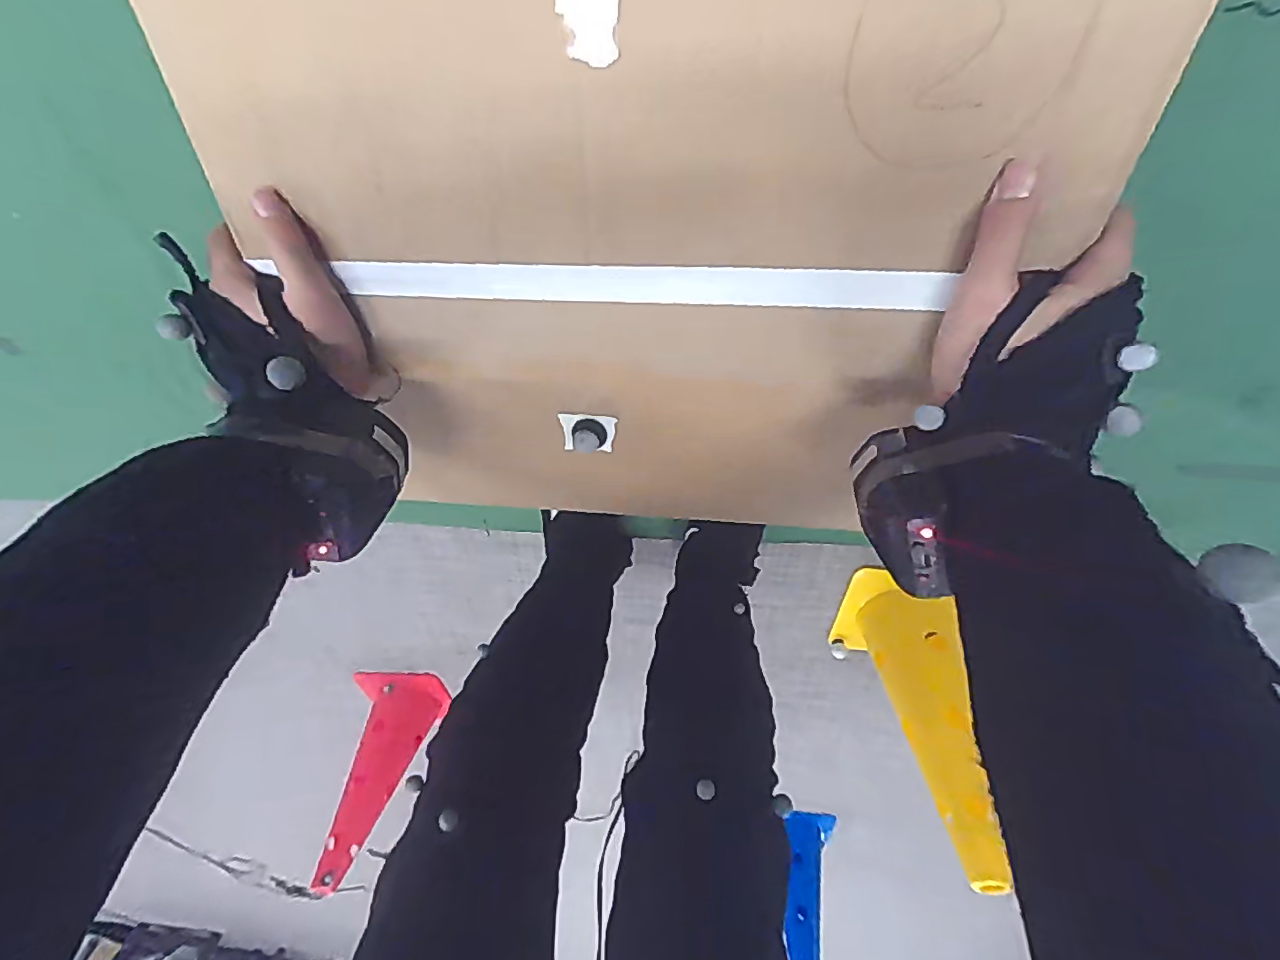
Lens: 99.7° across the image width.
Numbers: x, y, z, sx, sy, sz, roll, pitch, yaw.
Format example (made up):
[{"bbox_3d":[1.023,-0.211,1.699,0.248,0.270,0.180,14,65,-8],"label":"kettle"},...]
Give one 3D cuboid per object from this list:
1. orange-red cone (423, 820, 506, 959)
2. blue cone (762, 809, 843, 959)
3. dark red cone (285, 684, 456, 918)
[{"bbox_3d":[-0.552,1.233,1.577,0.199,0.360,0.198,19,128,-5],"label":"orange-red cone"},{"bbox_3d":[0.399,0.994,1.267,0.192,0.380,0.193,2,129,6],"label":"blue cone"},{"bbox_3d":[-0.533,0.596,1.036,0.202,0.394,0.201,-4,125,11],"label":"dark red cone"}]
